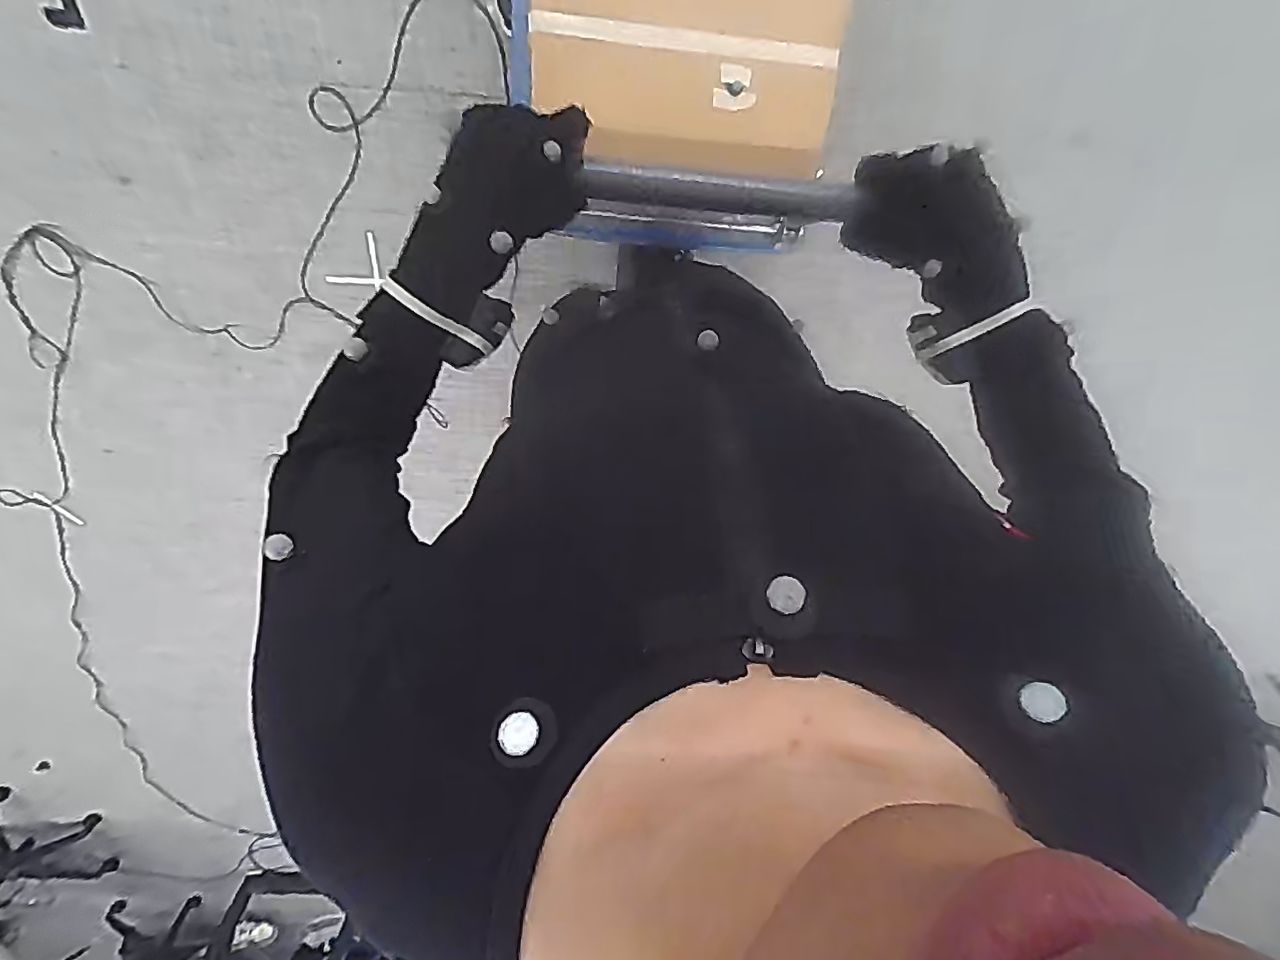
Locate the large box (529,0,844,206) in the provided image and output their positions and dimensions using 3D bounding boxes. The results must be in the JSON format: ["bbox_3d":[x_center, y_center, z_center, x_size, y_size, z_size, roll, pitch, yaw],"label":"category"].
[{"bbox_3d":[0.046,-0.619,0.832,0.408,0.320,0.320,3,114,-6],"label":"large box"}]
